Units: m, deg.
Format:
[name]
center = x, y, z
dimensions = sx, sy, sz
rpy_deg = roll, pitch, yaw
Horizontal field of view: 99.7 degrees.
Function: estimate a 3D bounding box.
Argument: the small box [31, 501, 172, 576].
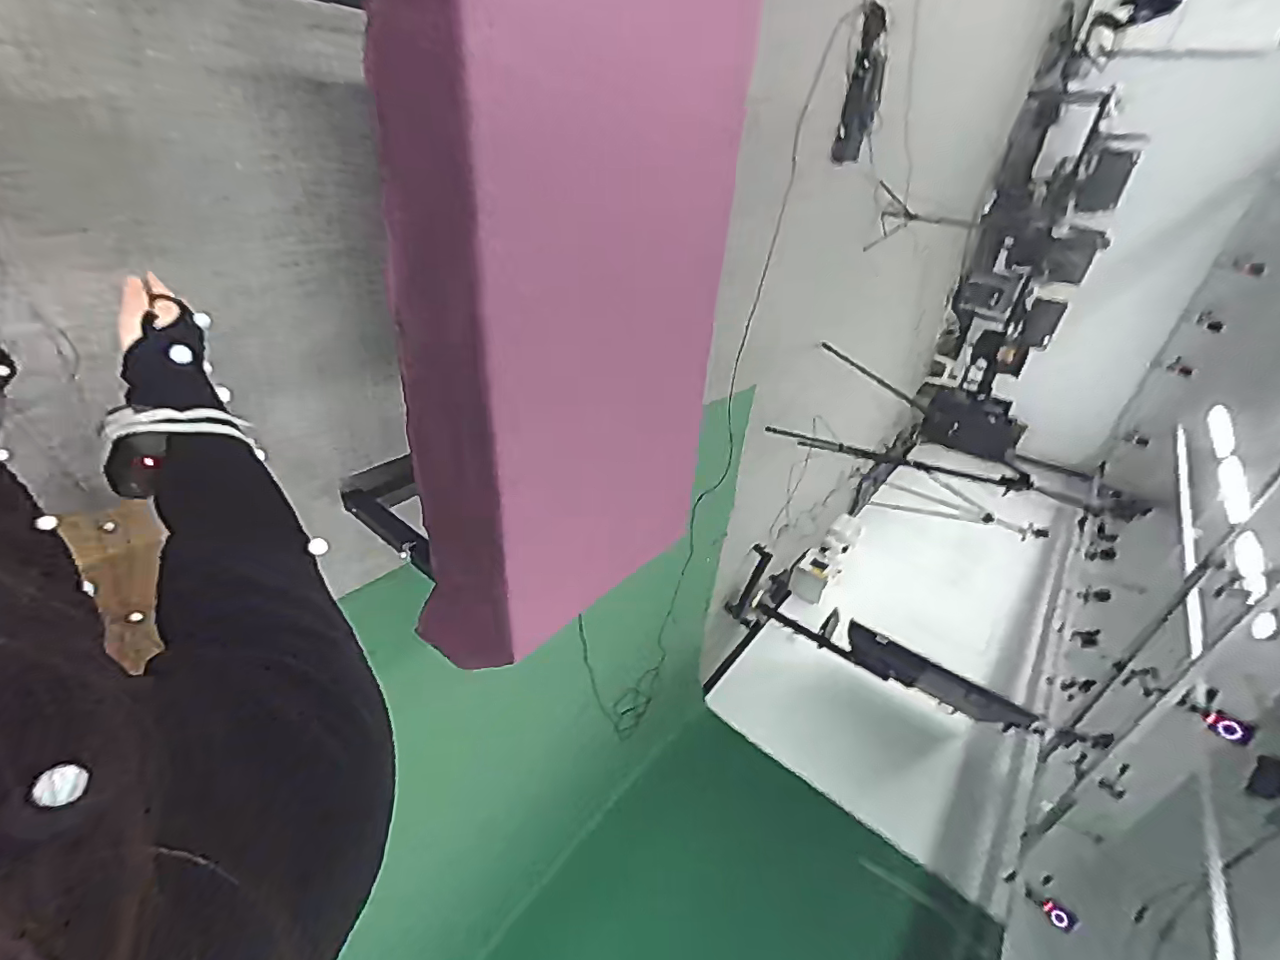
[small box]
center = -1.040, 0.160, 1.065
dimensions = 0.168, 0.176, 0.179
rpy_deg = -28, 136, -45
